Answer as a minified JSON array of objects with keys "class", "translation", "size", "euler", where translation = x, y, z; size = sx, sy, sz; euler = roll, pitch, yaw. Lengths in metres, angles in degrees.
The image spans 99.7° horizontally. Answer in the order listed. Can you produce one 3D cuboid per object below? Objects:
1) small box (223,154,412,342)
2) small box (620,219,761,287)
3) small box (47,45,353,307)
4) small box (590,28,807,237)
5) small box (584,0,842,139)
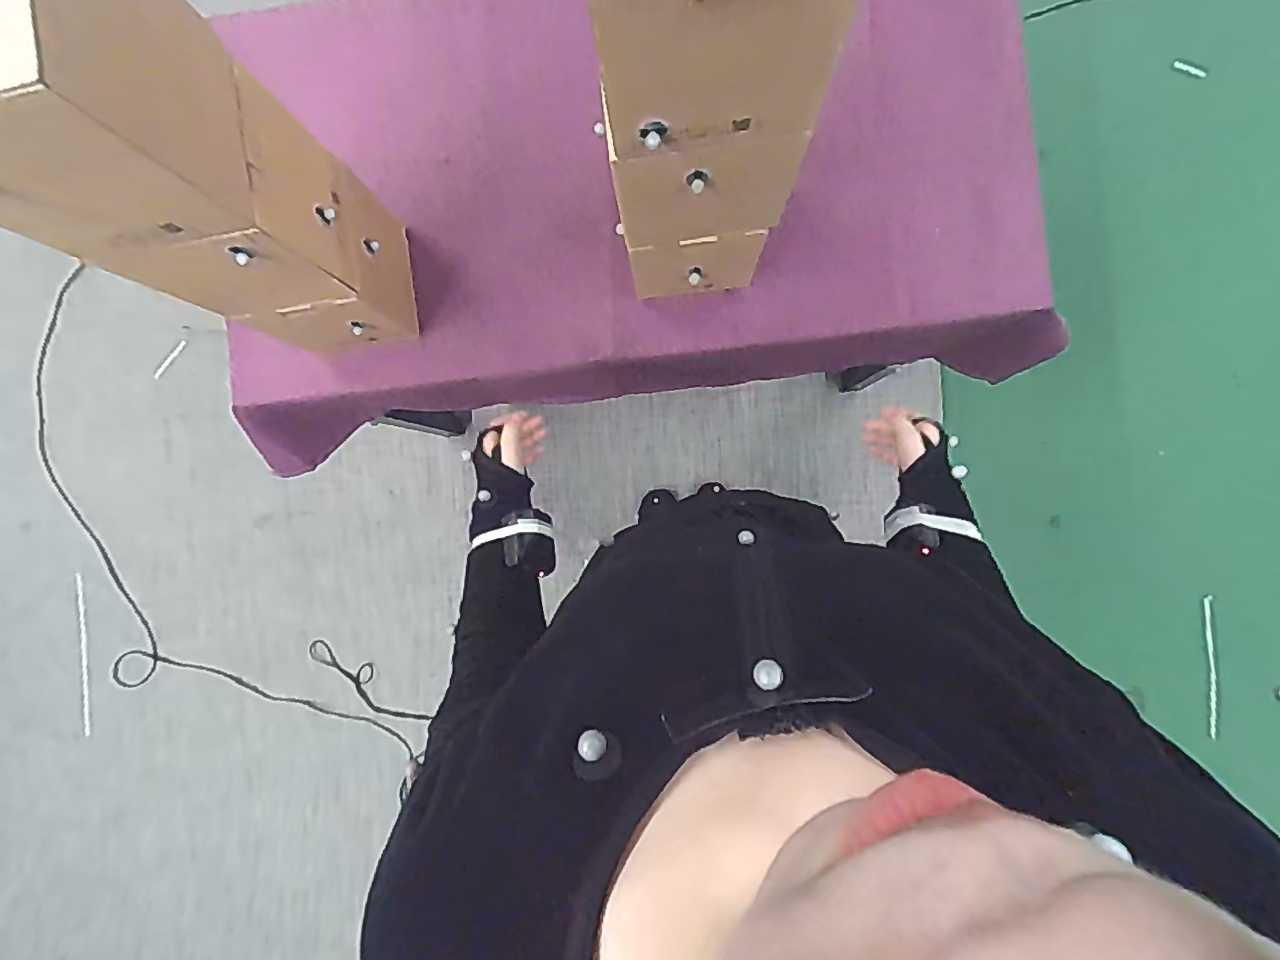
[{"class":"small box","translation":[-0.427,-0.294,0.728],"size":[0.168,0.176,0.179],"euler":[-7,89,2]},{"class":"small box","translation":[0.058,-0.364,0.704],"size":[0.168,0.176,0.179],"euler":[-6,90,3]},{"class":"small box","translation":[-0.439,-0.296,0.566],"size":[0.179,0.176,0.168],"euler":[-9,89,1]},{"class":"small box","translation":[0.052,-0.363,0.539],"size":[0.179,0.176,0.168],"euler":[-6,90,3]},{"class":"small box","translation":[0.044,-0.369,0.374],"size":[0.168,0.176,0.179],"euler":[-7,88,3]}]
